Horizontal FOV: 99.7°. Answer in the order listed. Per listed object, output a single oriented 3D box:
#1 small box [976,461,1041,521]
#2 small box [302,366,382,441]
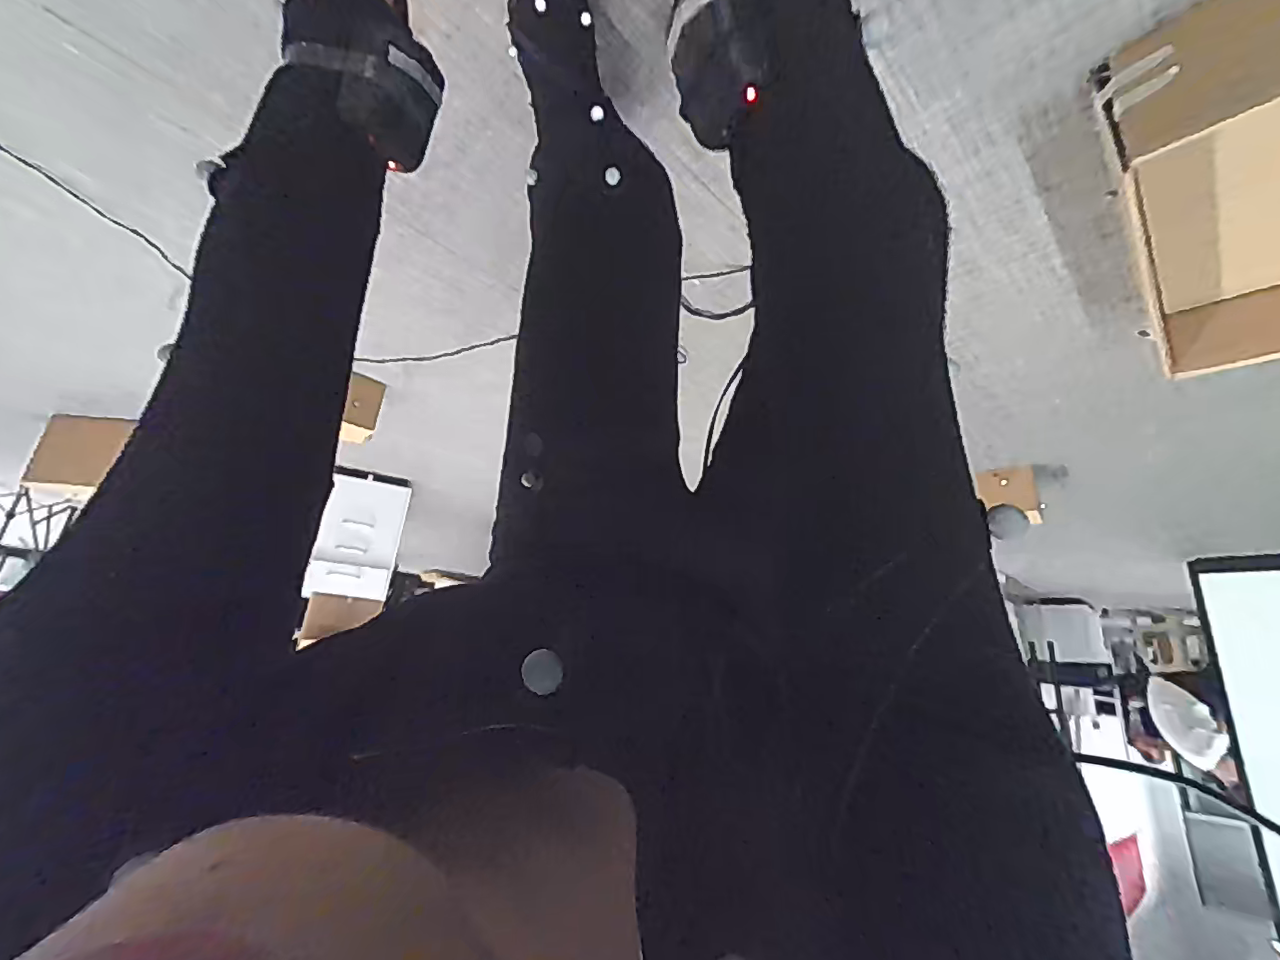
[{"bbox_3d":[1.330,0.043,1.952,0.168,0.176,0.179,-11,155,40],"label":"small box"},{"bbox_3d":[-0.950,-0.244,1.733,0.179,0.176,0.168,19,157,-37],"label":"small box"}]
